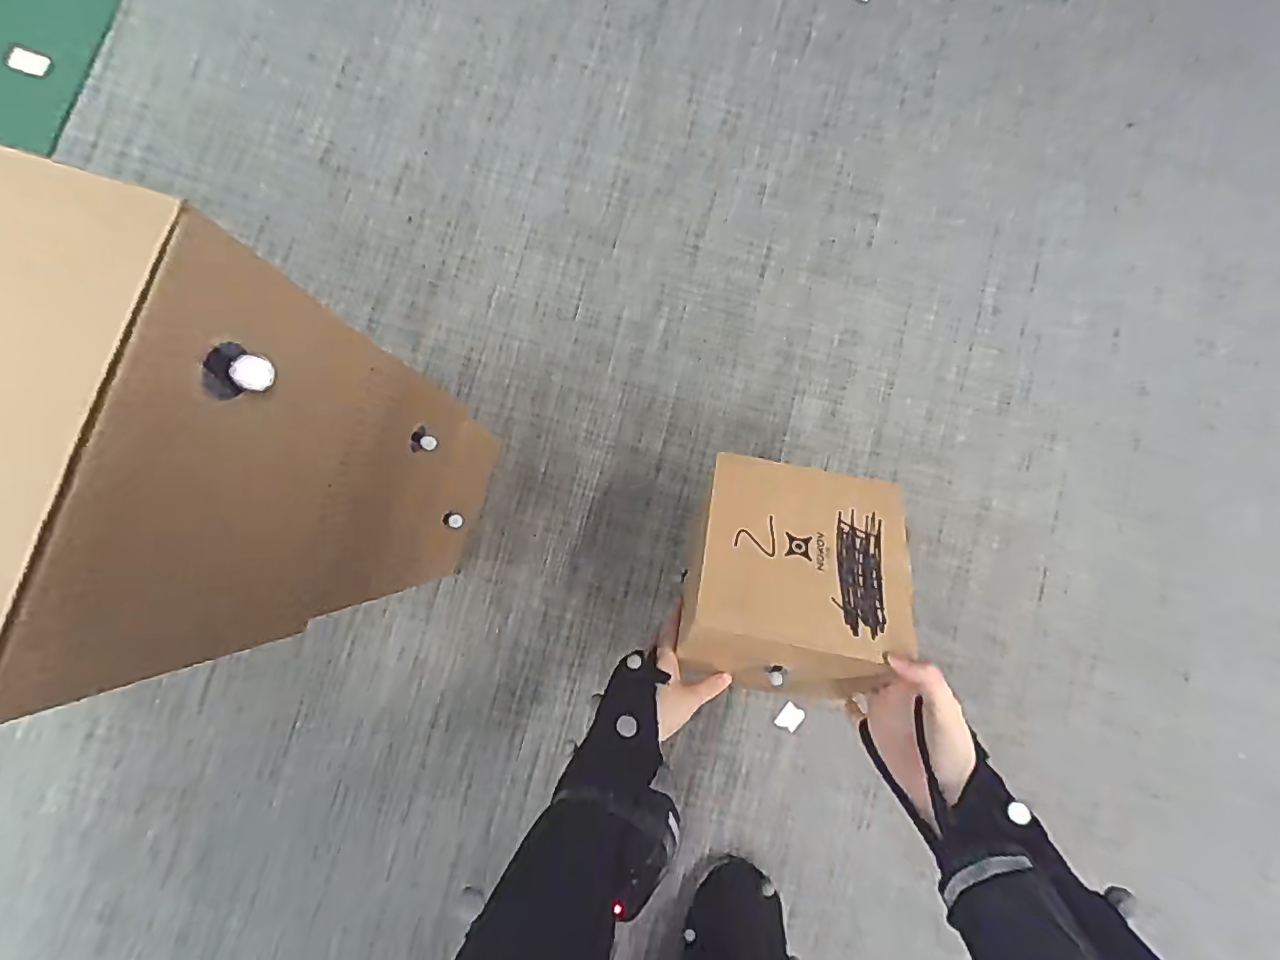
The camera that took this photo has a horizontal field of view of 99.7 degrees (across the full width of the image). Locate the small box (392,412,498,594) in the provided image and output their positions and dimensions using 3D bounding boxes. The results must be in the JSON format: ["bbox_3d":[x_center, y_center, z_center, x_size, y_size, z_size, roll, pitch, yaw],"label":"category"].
[{"bbox_3d":[-0.267,0.003,0.572,0.168,0.176,0.179,19,85,0],"label":"small box"}]

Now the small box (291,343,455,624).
[{"bbox_3d":[-0.259,-0.011,0.411,0.168,0.176,0.179,16,85,1],"label":"small box"}]

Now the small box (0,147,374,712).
[{"bbox_3d":[-0.253,-0.024,0.246,0.168,0.176,0.179,16,84,1],"label":"small box"}]
